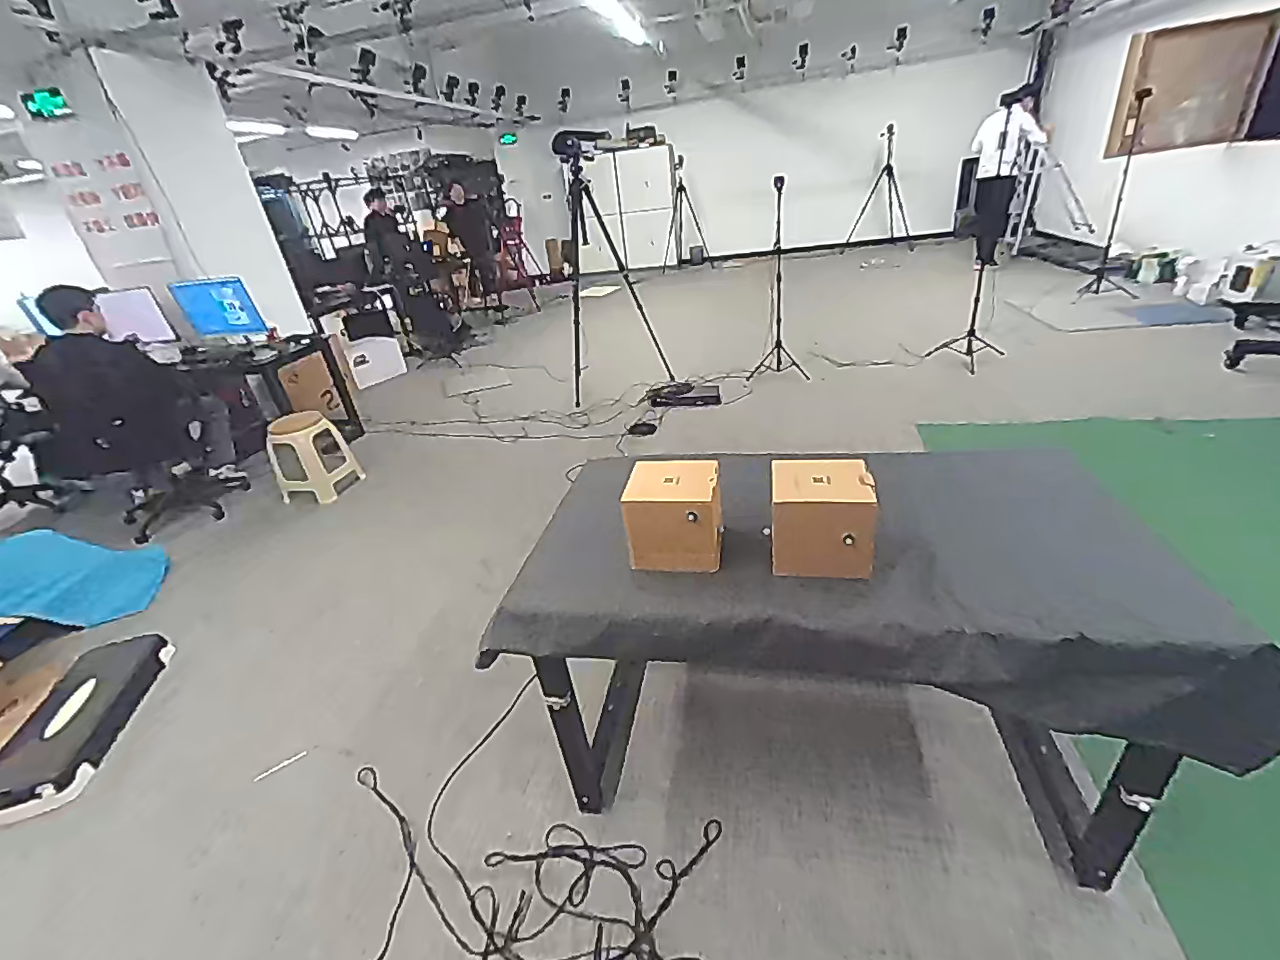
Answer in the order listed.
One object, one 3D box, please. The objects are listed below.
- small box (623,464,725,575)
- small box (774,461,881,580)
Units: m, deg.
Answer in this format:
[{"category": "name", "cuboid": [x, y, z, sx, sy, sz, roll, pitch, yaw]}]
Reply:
[{"category": "small box", "cuboid": [0.077, 0.079, 1.105, 0.179, 0.176, 0.168, -1, 29, 13]}, {"category": "small box", "cuboid": [0.348, 0.077, 1.033, 0.179, 0.176, 0.168, -2, 27, 15]}]
